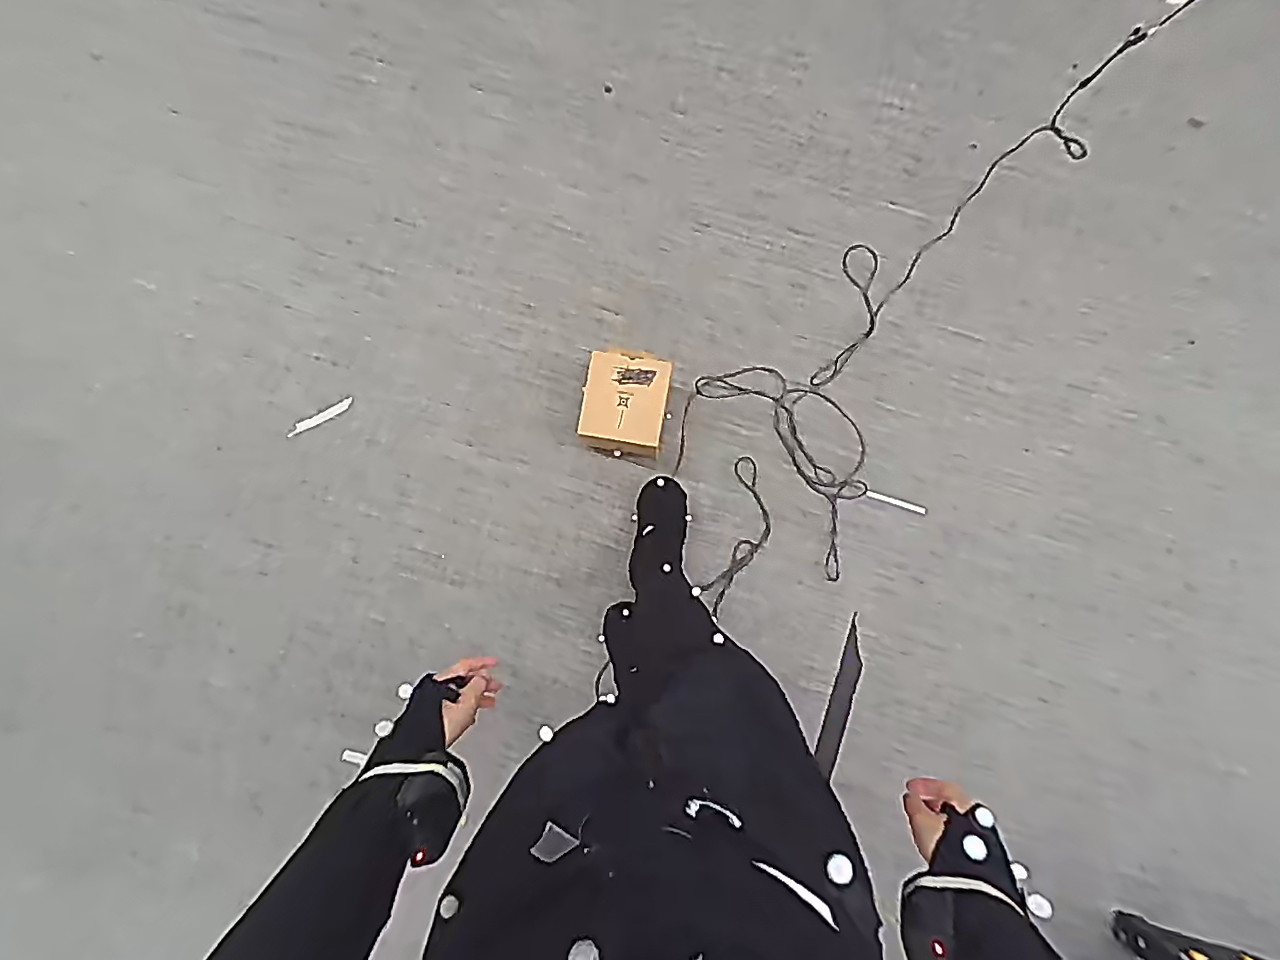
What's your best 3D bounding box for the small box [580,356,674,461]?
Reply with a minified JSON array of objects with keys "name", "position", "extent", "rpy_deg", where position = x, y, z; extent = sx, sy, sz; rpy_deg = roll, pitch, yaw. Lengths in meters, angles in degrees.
[{"name":"small box","position":[-0.024,-0.146,1.162],"extent":[0.168,0.176,0.179],"rpy_deg":[10,86,3]}]
